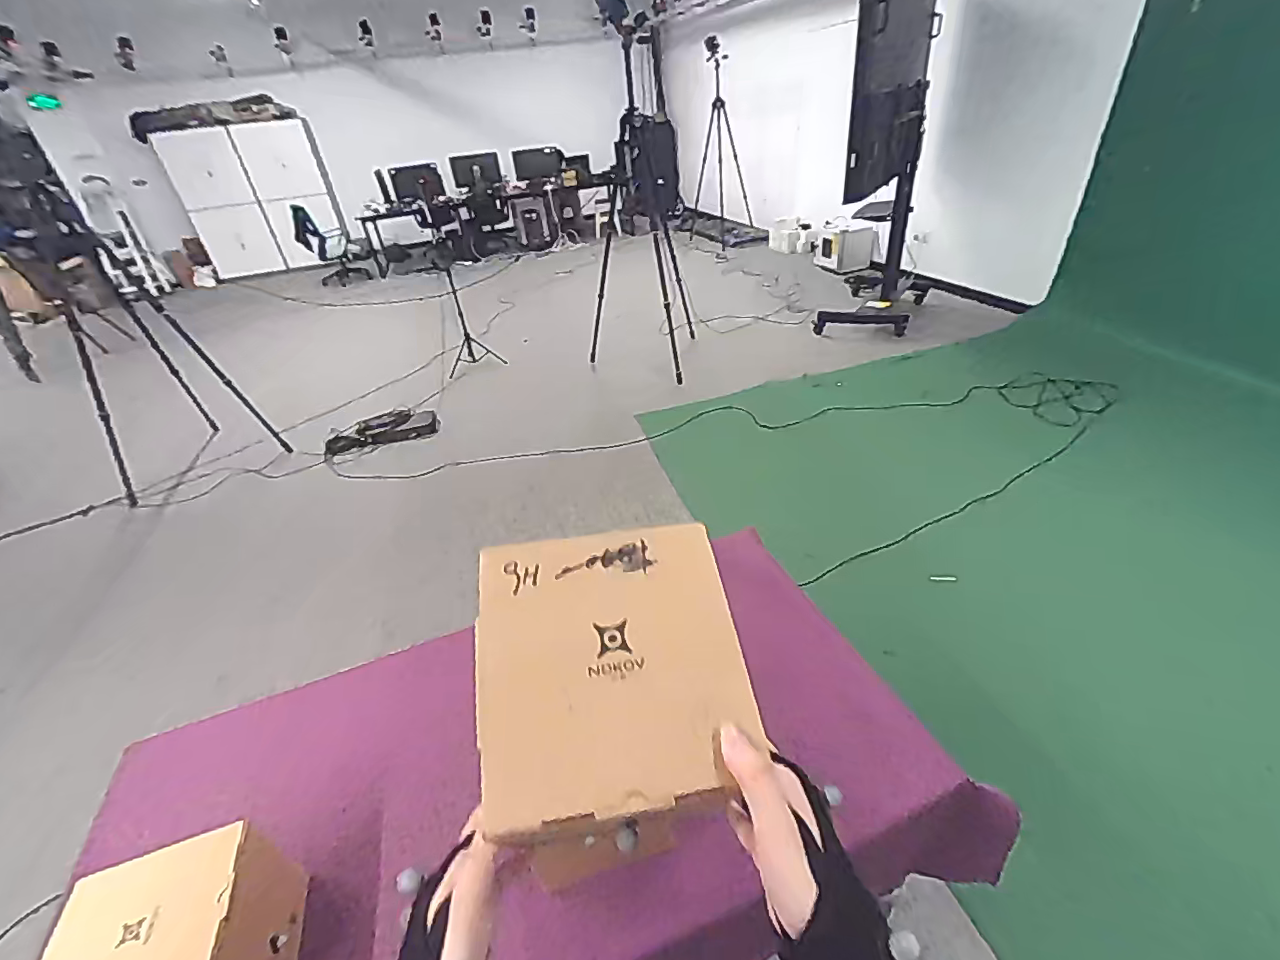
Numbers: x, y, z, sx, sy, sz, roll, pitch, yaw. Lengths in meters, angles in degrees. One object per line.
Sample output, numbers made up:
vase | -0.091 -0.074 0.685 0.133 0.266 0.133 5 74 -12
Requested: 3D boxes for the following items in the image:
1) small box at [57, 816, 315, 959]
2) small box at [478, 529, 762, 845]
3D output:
small box | -0.512 0.537 0.619 0.179 0.176 0.168 -16 35 -13
small box | -0.024 0.161 0.413 0.168 0.176 0.179 -6 56 -8
